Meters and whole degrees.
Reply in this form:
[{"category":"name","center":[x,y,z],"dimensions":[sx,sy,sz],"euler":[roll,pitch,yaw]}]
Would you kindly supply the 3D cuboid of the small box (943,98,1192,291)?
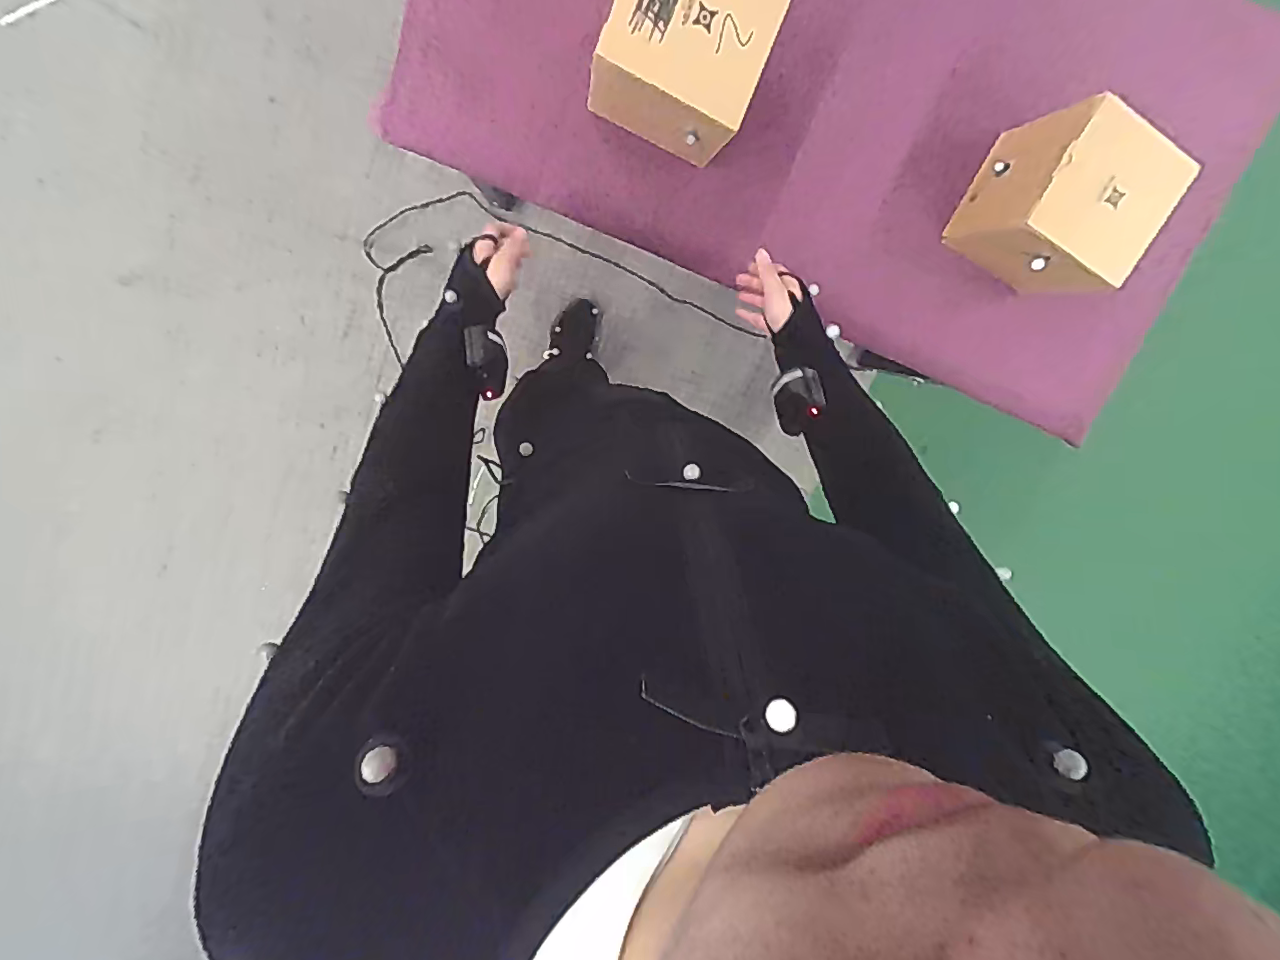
[{"category":"small box","center":[0.584,-0.383,0.763],"dimensions":[0.179,0.176,0.168],"euler":[24,103,-13]}]
